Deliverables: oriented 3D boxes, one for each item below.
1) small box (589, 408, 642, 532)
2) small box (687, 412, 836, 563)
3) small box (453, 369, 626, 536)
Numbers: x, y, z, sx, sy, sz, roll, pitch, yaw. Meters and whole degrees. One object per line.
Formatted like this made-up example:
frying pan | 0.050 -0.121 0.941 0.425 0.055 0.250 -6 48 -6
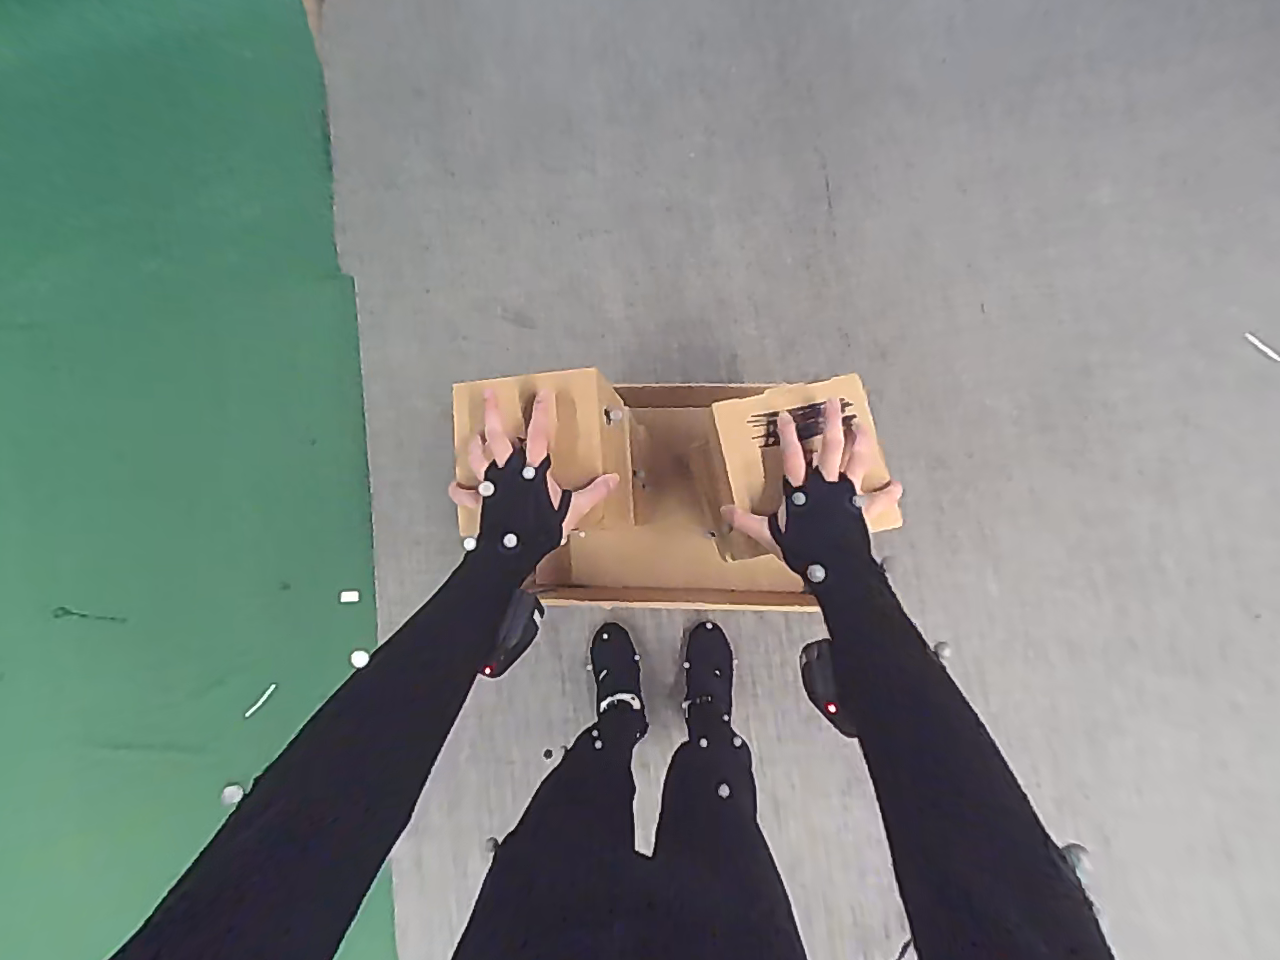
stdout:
small box | -0.088 -0.007 0.860 0.168 0.176 0.179 -3 85 6
small box | 0.176 0.016 0.831 0.168 0.176 0.179 -18 82 3
small box | -0.114 -0.022 0.667 0.168 0.176 0.179 -5 85 8
